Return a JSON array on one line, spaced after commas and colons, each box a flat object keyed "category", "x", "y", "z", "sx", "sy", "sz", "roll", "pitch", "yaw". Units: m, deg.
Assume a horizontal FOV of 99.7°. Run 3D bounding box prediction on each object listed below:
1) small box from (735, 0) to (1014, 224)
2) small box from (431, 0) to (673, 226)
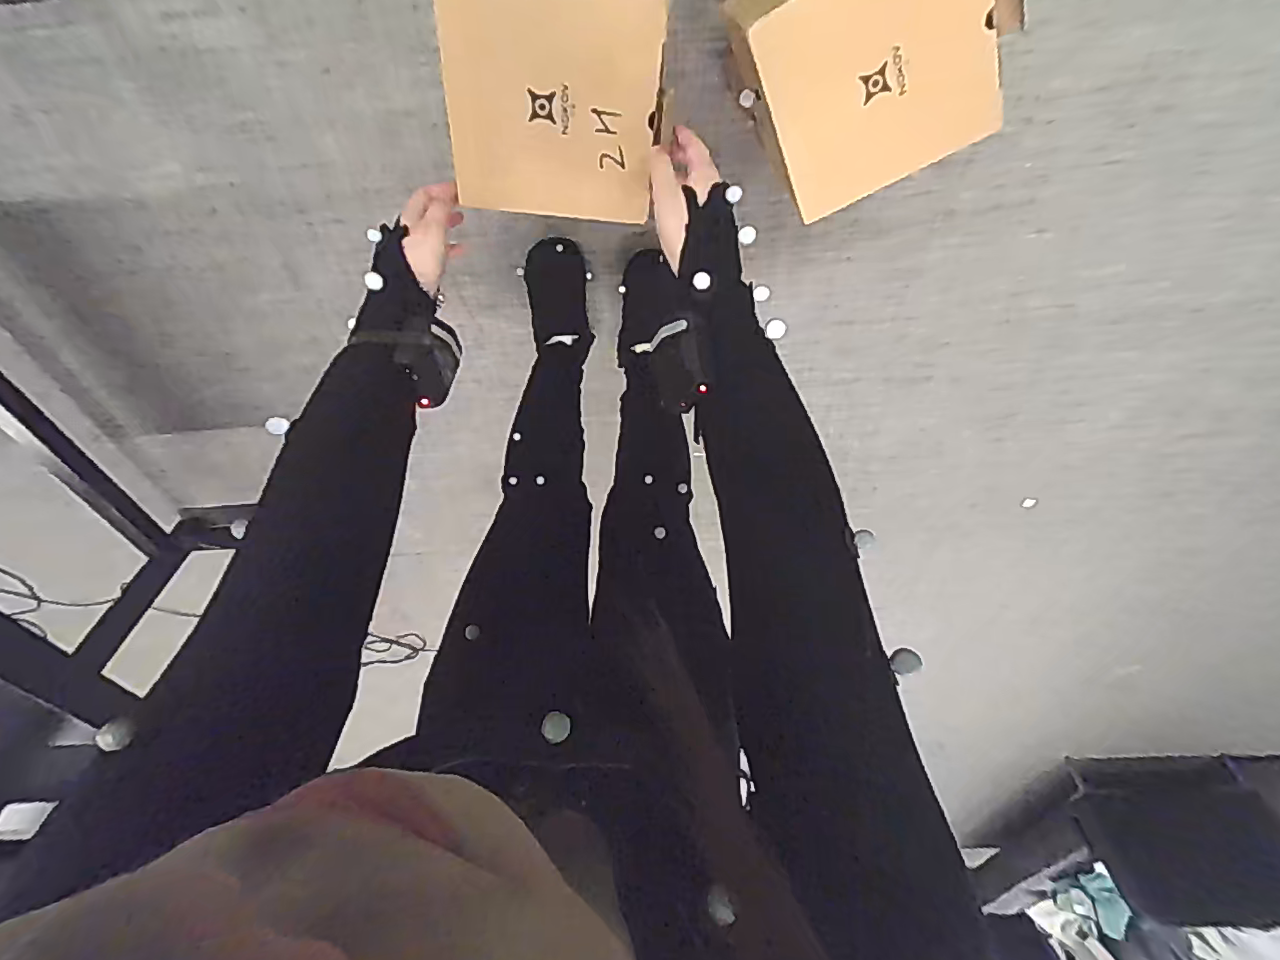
[{"category": "small box", "x": 0.193, "y": -0.370, "z": 0.480, "sx": 0.179, "sy": 0.176, "sz": 0.168, "roll": -22, "pitch": 132, "yaw": 19}, {"category": "small box", "x": -0.069, "y": -0.352, "z": 0.489, "sx": 0.179, "sy": 0.176, "sz": 0.168, "roll": 4, "pitch": 134, "yaw": -4}]
